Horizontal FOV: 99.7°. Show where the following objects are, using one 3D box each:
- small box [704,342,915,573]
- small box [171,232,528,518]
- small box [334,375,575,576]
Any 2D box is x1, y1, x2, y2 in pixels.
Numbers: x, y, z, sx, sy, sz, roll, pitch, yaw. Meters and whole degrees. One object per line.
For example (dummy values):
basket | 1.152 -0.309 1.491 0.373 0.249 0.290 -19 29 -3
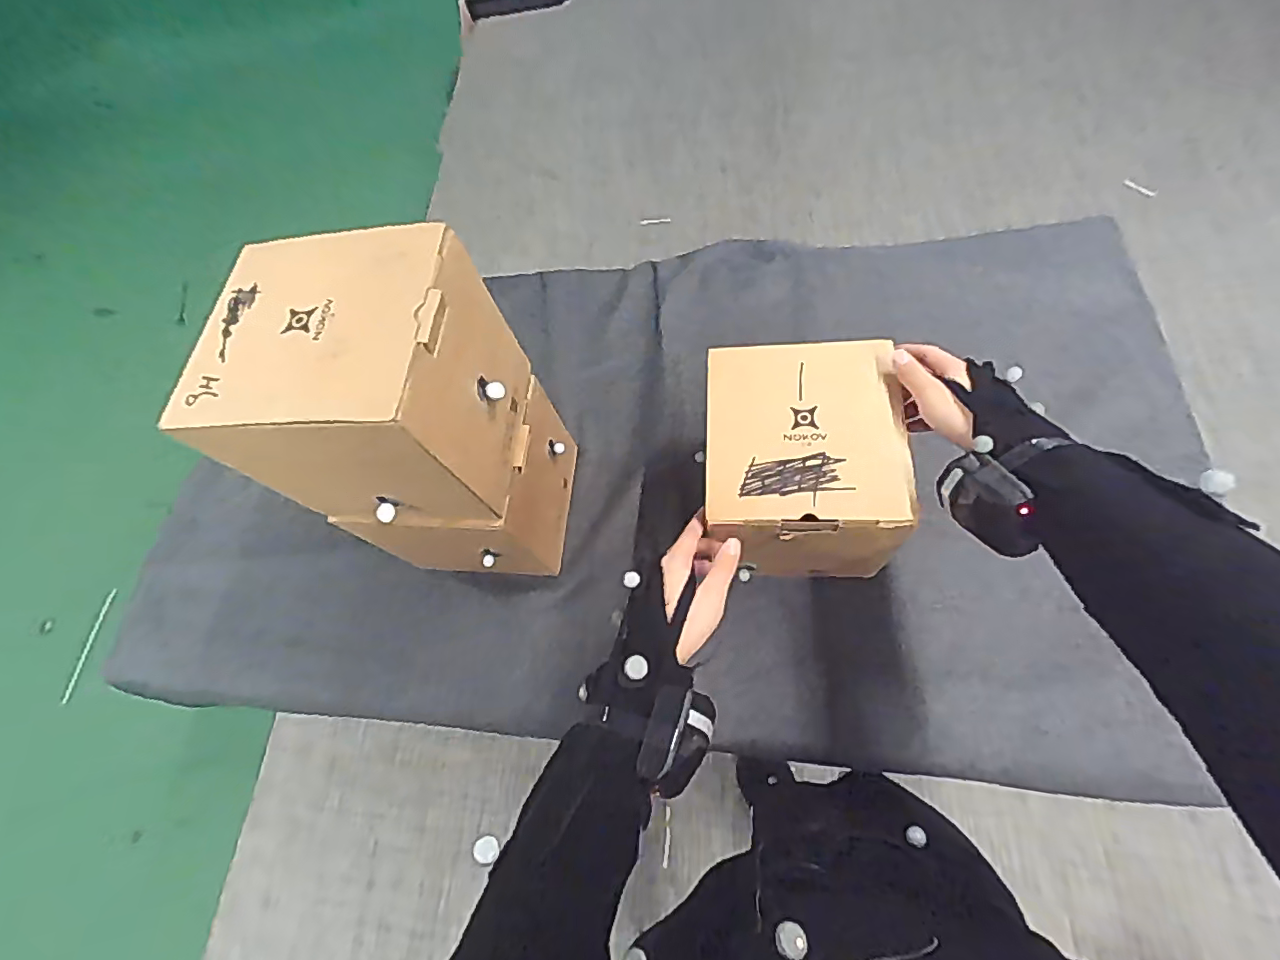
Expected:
small box | 0.153 -0.011 0.535 0.168 0.176 0.179 0 65 10
small box | -0.208 -0.073 0.447 0.179 0.176 0.168 0 65 10
small box | -0.180 0.003 0.590 0.179 0.176 0.168 0 64 11
